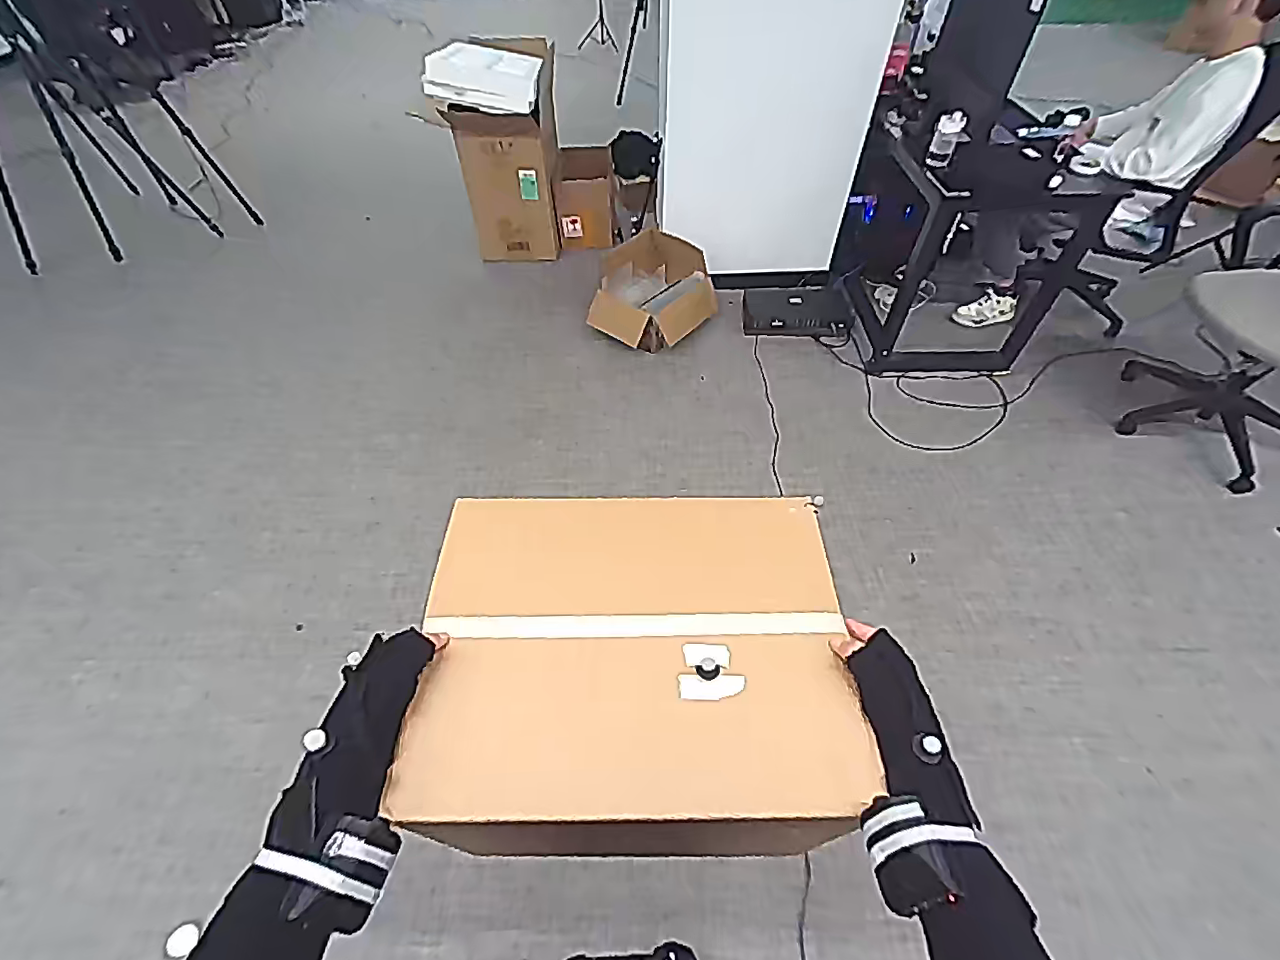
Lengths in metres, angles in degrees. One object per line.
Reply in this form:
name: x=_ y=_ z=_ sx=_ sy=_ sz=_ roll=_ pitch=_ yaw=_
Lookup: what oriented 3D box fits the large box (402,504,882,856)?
large box: x=-0.002 y=0.243 z=0.648 sx=0.408 sy=0.320 sz=0.320 roll=0 pitch=51 yaw=-1
